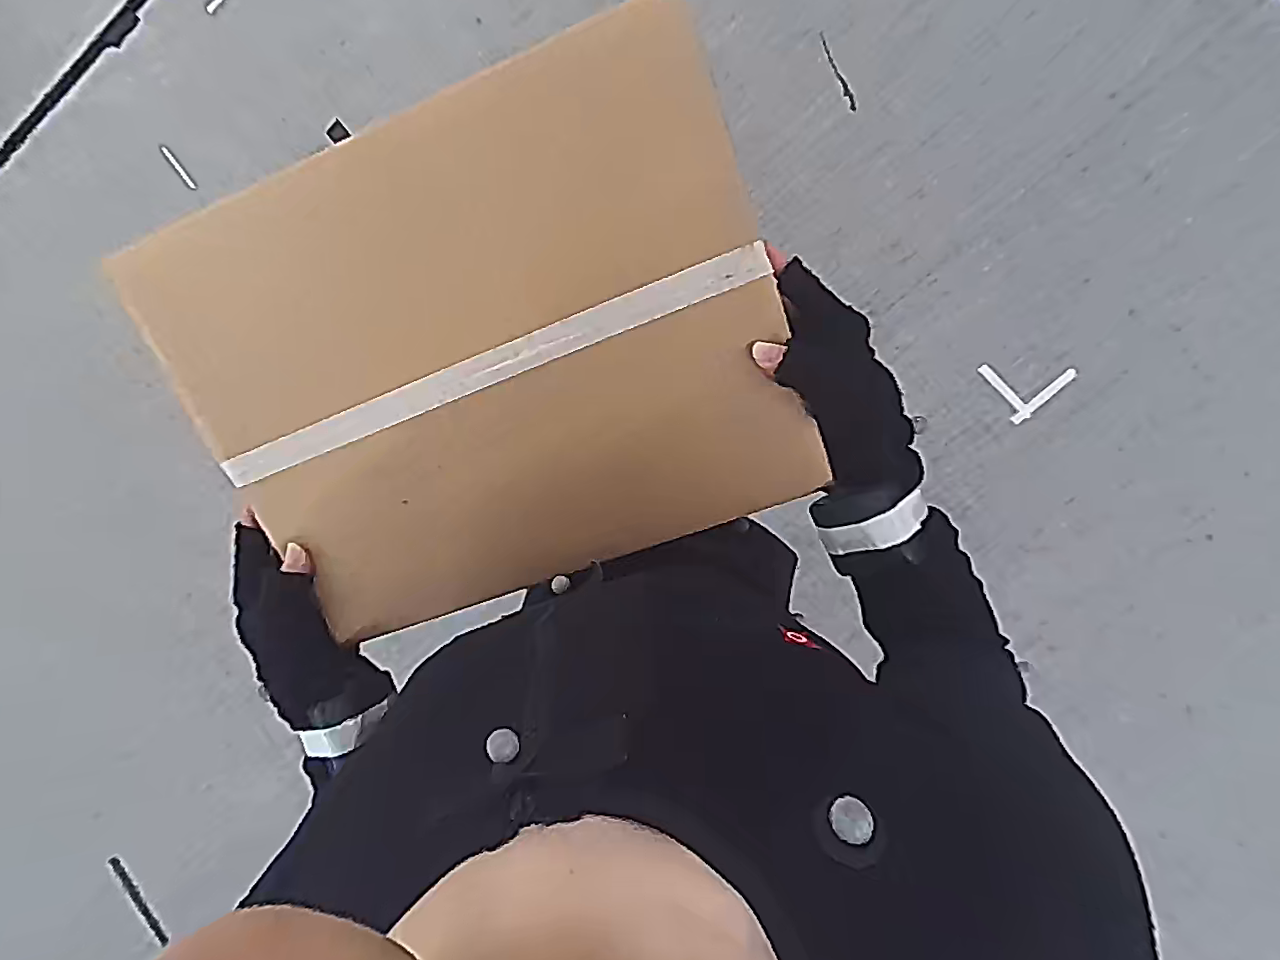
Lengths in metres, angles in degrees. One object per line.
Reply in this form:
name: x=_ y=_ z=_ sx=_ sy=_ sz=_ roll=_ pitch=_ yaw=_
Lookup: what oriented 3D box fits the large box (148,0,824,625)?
large box: x=-0.097 y=-0.122 z=0.519 sx=0.408 sy=0.320 sz=0.320 roll=-19 pitch=106 yaw=9
